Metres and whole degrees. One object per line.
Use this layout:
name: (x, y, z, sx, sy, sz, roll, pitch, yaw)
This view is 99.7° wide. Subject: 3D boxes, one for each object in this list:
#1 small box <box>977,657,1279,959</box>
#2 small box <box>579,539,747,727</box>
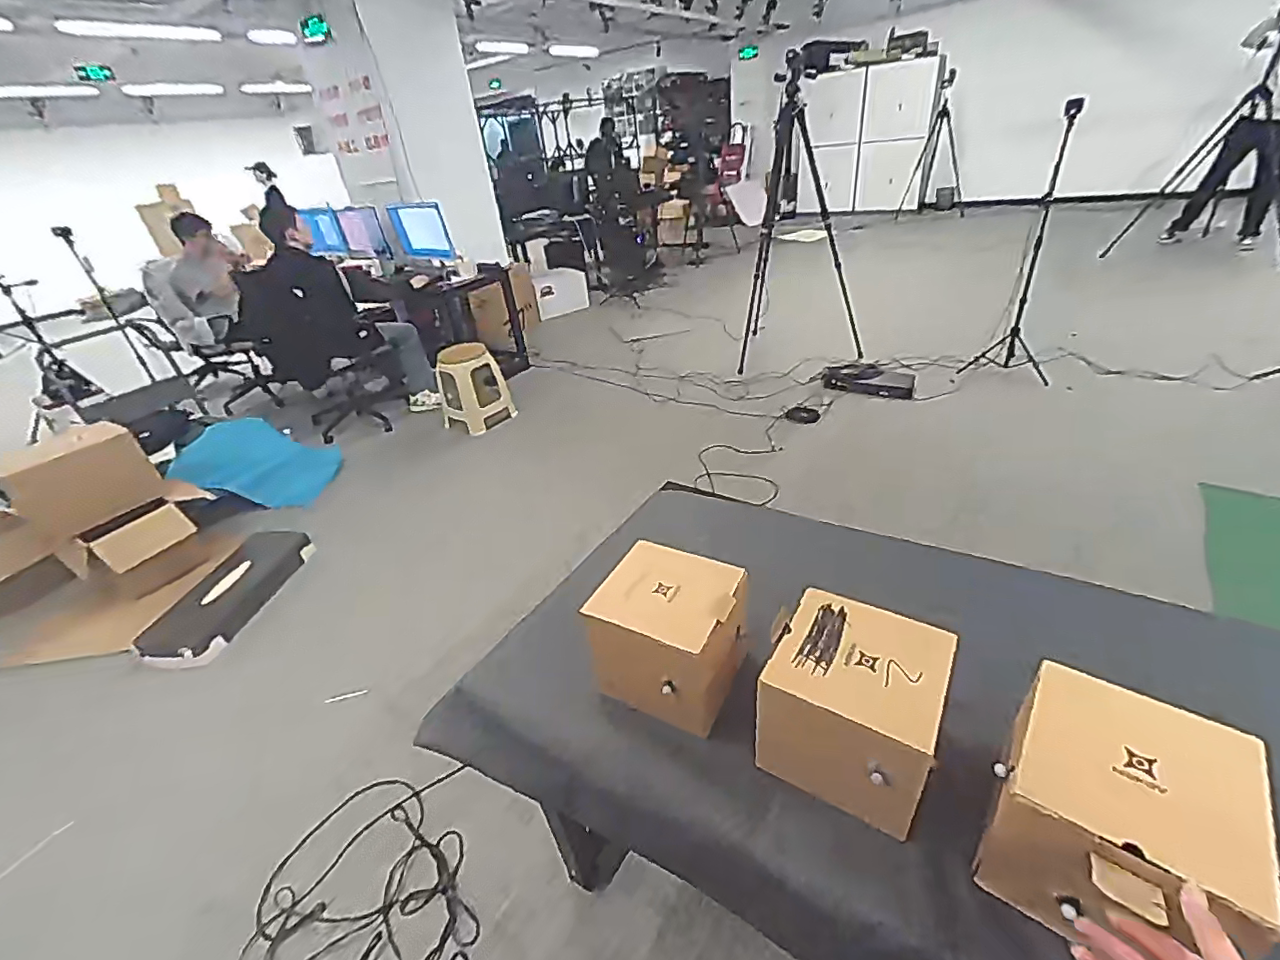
small box: (0.448, 0.316, 0.519, 0.168, 0.176, 0.179, 19, 41, 34)
small box: (0.042, 0.213, 0.764, 0.179, 0.176, 0.168, 11, 35, 28)
